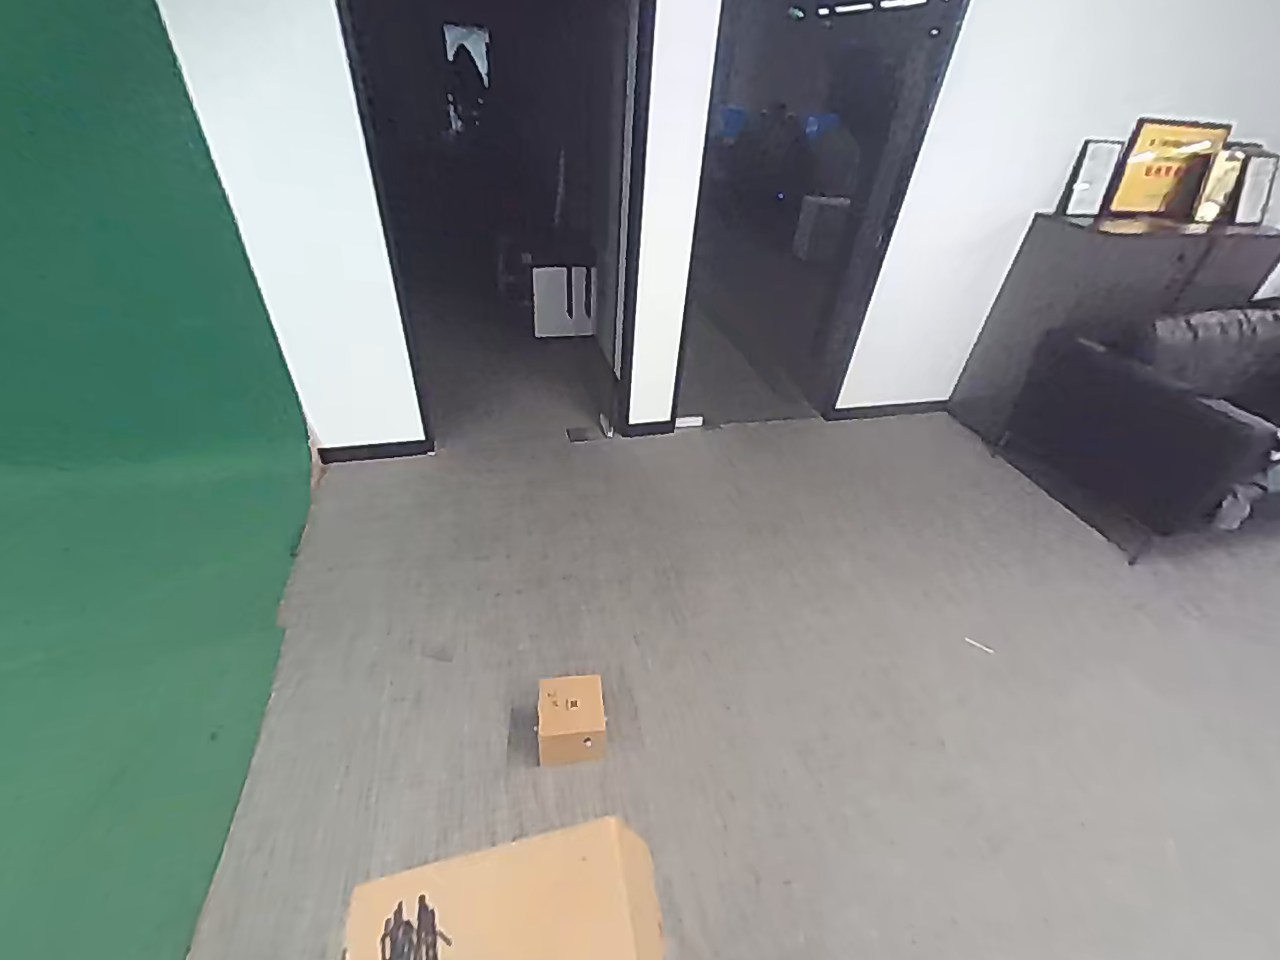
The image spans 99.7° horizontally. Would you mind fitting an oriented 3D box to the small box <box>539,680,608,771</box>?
[{"bbox_3d":[-0.186,0.678,1.491,0.179,0.176,0.168,-2,38,-9],"label":"small box"}]
